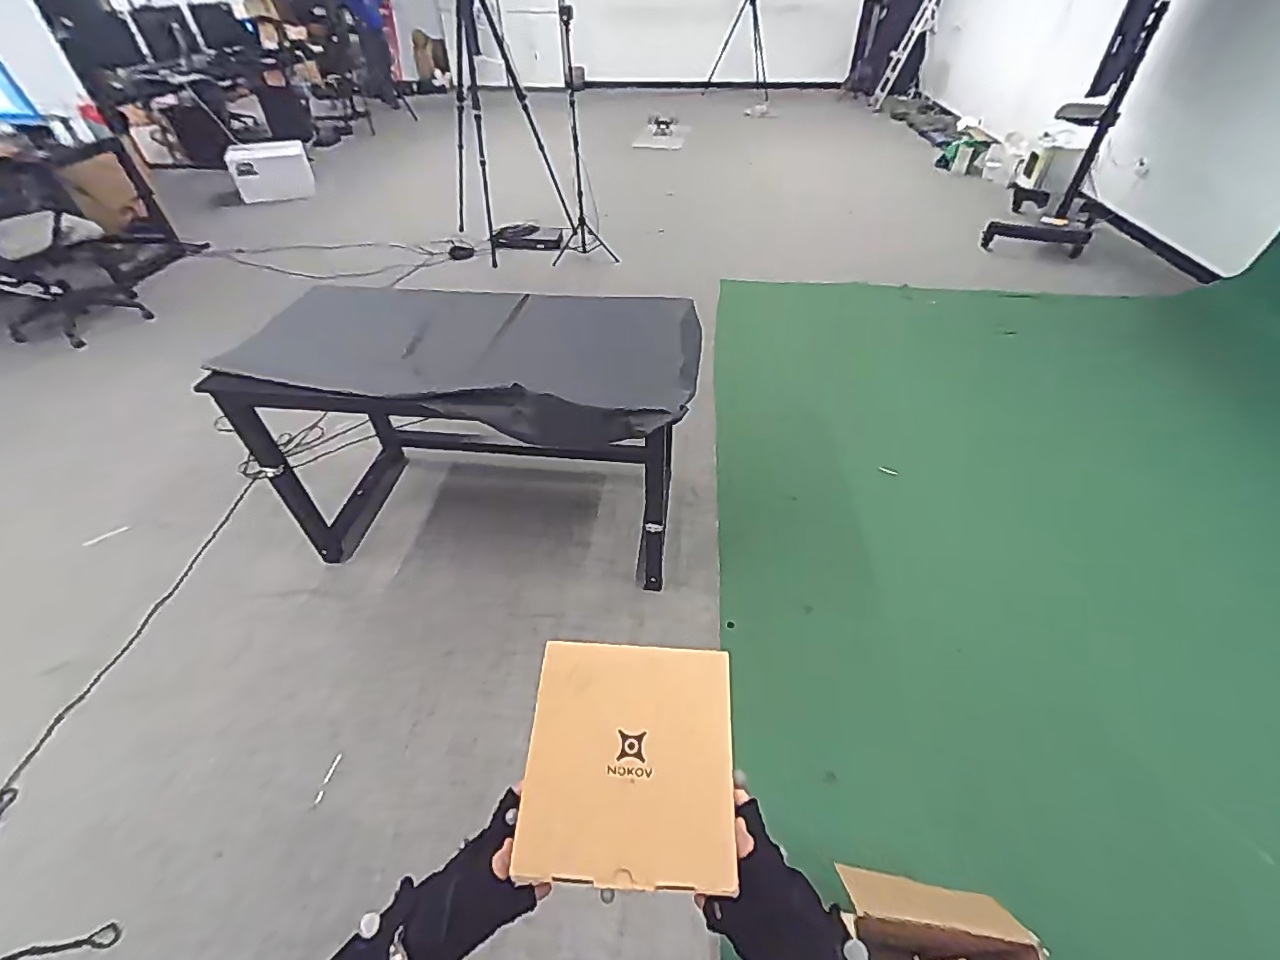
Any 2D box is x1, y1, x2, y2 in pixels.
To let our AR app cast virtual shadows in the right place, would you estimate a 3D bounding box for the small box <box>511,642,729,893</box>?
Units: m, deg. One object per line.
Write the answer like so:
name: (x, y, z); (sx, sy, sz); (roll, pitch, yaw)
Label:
small box: (-0.013, 0.271, 0.510); (0.168, 0.176, 0.179); (4, 55, 0)
